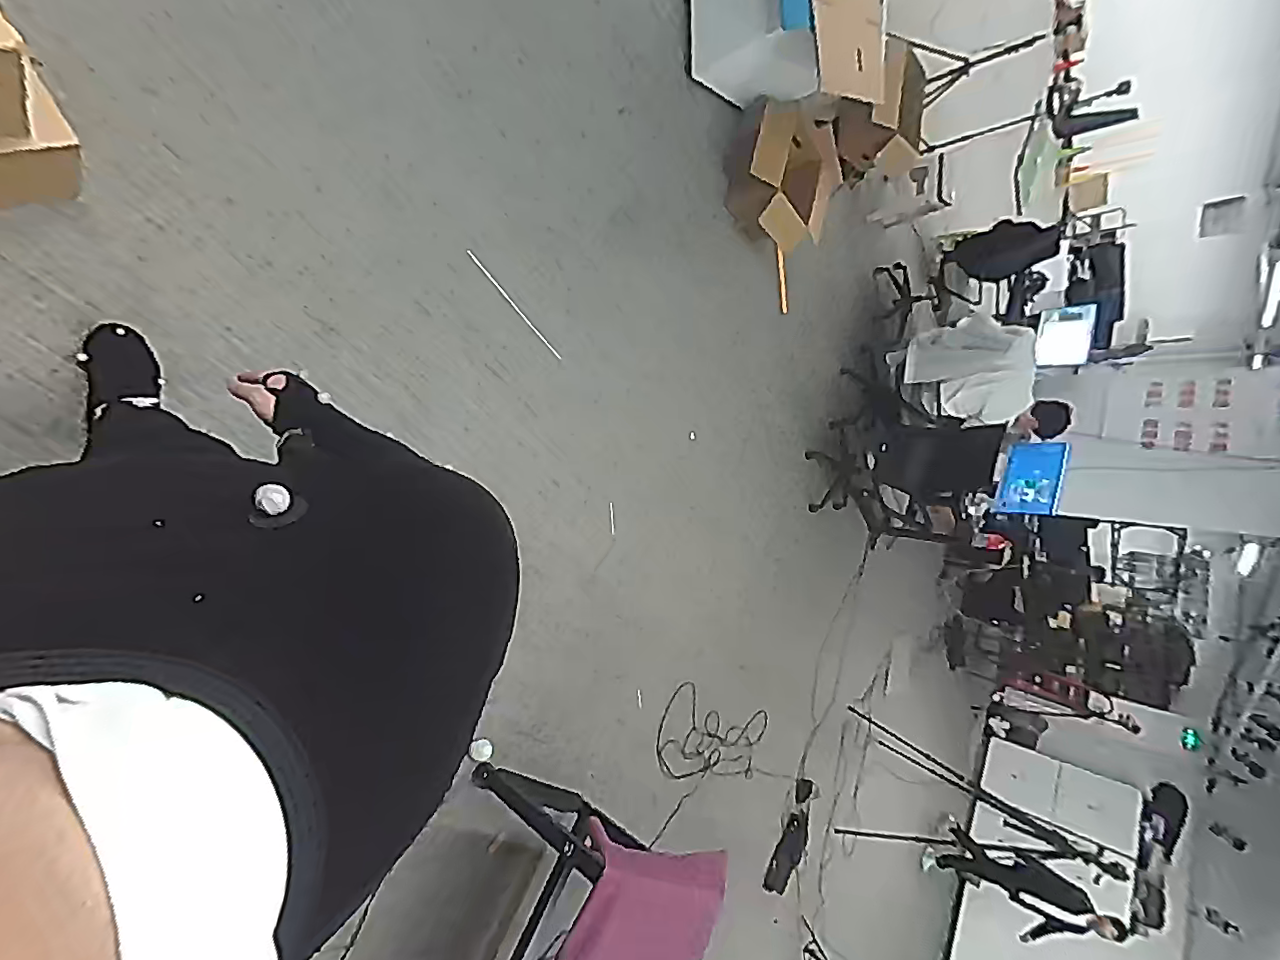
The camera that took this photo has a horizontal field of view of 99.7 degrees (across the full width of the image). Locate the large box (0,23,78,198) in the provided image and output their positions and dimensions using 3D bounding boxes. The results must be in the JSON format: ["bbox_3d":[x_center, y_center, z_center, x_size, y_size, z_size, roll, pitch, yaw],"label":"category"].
[{"bbox_3d":[-1.218,-0.615,0.830,0.408,0.320,0.320,-38,121,-36],"label":"large box"}]

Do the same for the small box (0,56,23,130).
[{"bbox_3d":[-0.986,-0.585,0.721,0.168,0.176,0.179,-35,120,-39],"label":"small box"}]
